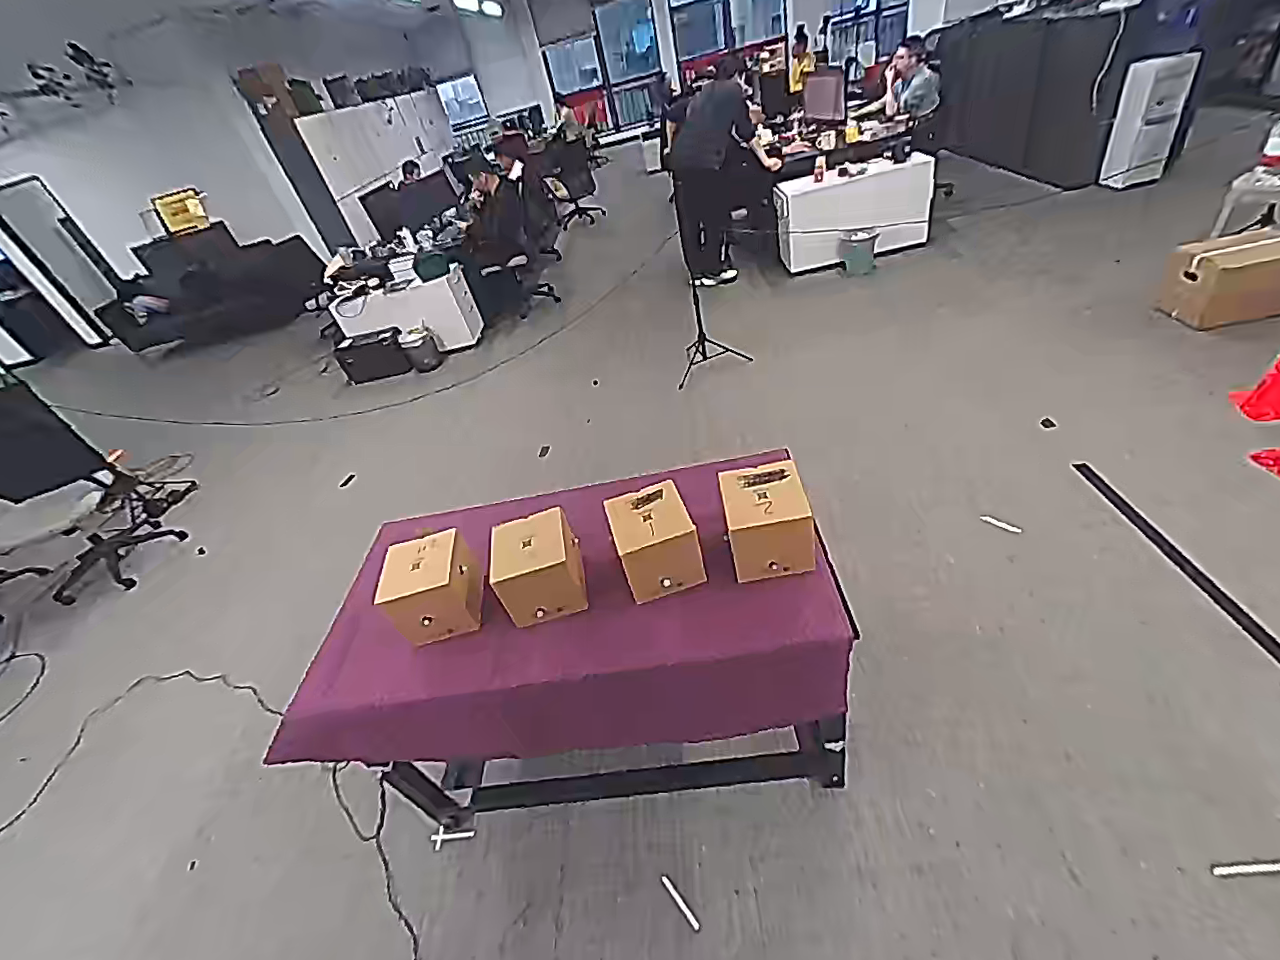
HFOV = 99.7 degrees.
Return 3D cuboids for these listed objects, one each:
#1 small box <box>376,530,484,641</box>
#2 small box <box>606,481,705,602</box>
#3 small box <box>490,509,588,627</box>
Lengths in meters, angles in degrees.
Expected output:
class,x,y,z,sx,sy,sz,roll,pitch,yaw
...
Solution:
class,x,y,z,sx,sy,sz,roll,pitch,yaw
small box,-0.471,0.249,1.245,0.168,0.176,0.179,-15,38,0
small box,0.035,0.137,1.201,0.168,0.176,0.179,-19,39,-3
small box,-0.224,0.198,1.221,0.168,0.176,0.179,-17,38,0
